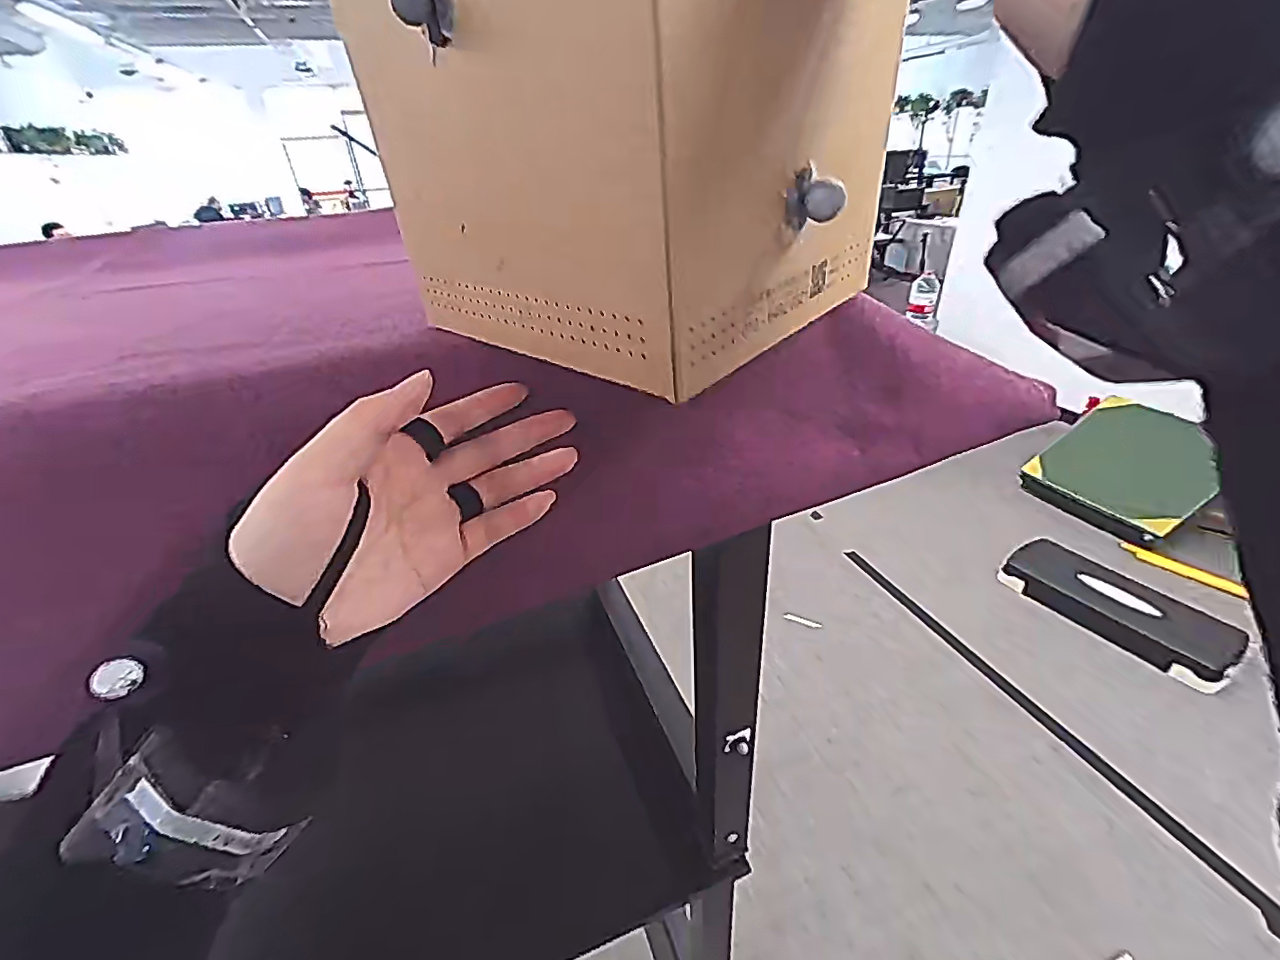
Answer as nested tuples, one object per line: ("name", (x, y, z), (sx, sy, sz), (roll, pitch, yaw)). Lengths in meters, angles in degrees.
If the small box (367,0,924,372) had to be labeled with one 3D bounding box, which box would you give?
("small box", (0.003, -0.162, 0.243), (0.179, 0.176, 0.168), (24, 44, 34))
